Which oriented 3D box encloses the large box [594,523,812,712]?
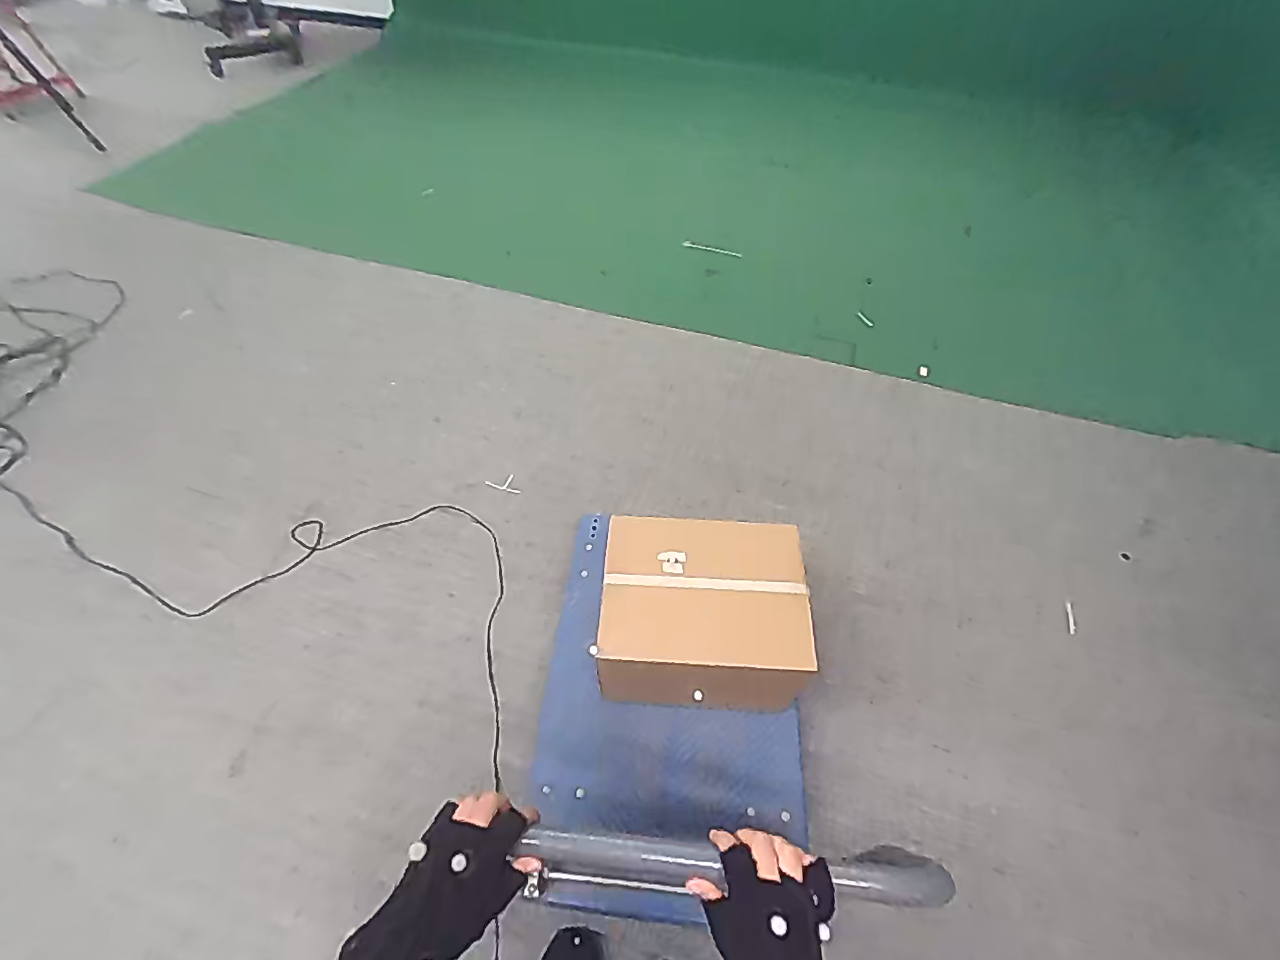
[{"bbox_3d":[0.124,0.309,1.190,0.408,0.320,0.320,2,53,3],"label":"large box"}]
